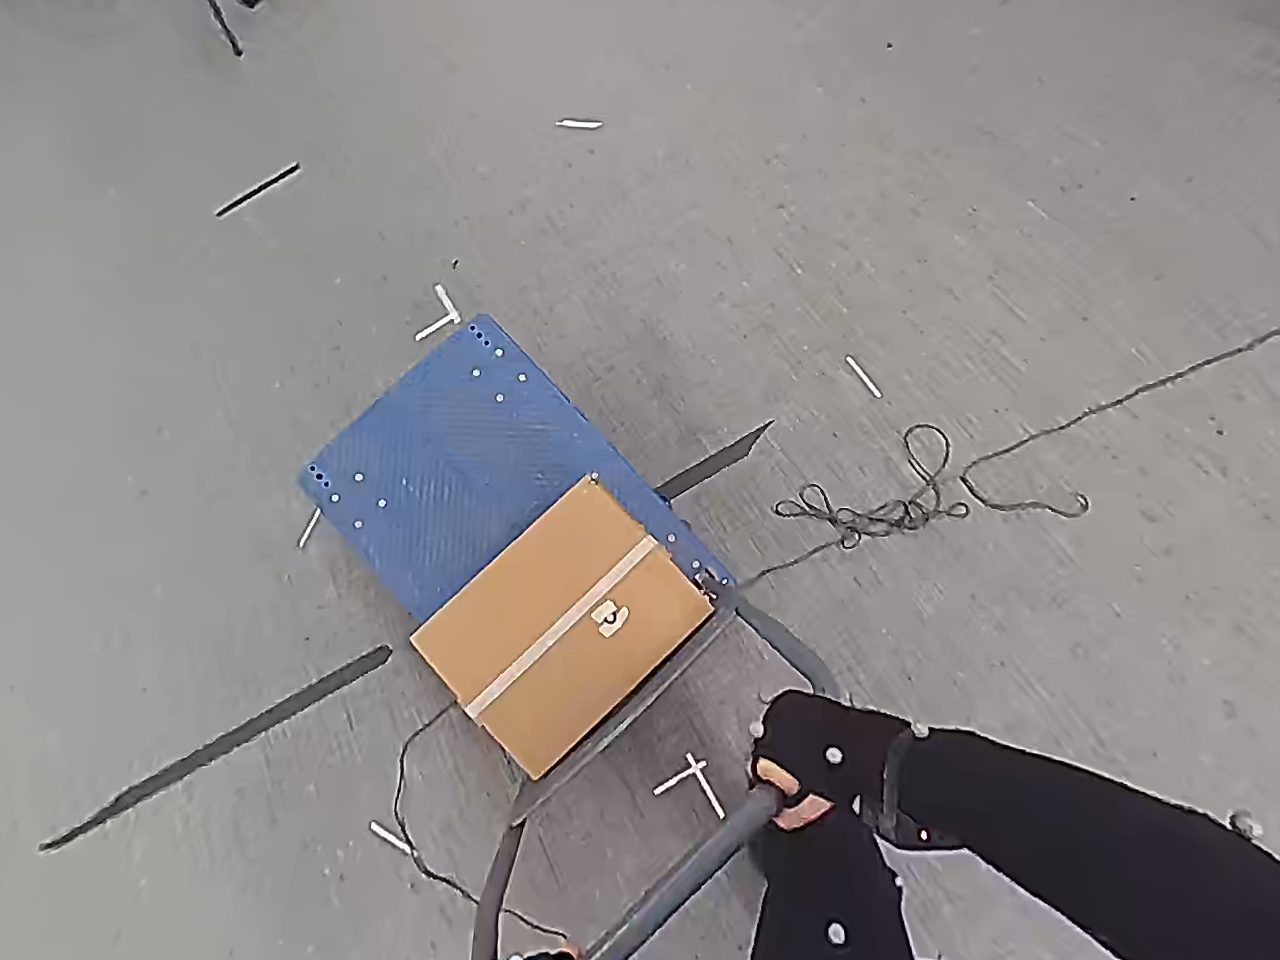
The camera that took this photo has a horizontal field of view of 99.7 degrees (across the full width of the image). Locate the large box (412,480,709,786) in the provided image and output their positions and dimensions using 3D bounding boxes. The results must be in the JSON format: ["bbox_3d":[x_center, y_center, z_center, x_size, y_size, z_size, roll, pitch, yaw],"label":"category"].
[{"bbox_3d":[-0.131,0.261,1.030,0.408,0.320,0.320,-44,87,-5],"label":"large box"}]
